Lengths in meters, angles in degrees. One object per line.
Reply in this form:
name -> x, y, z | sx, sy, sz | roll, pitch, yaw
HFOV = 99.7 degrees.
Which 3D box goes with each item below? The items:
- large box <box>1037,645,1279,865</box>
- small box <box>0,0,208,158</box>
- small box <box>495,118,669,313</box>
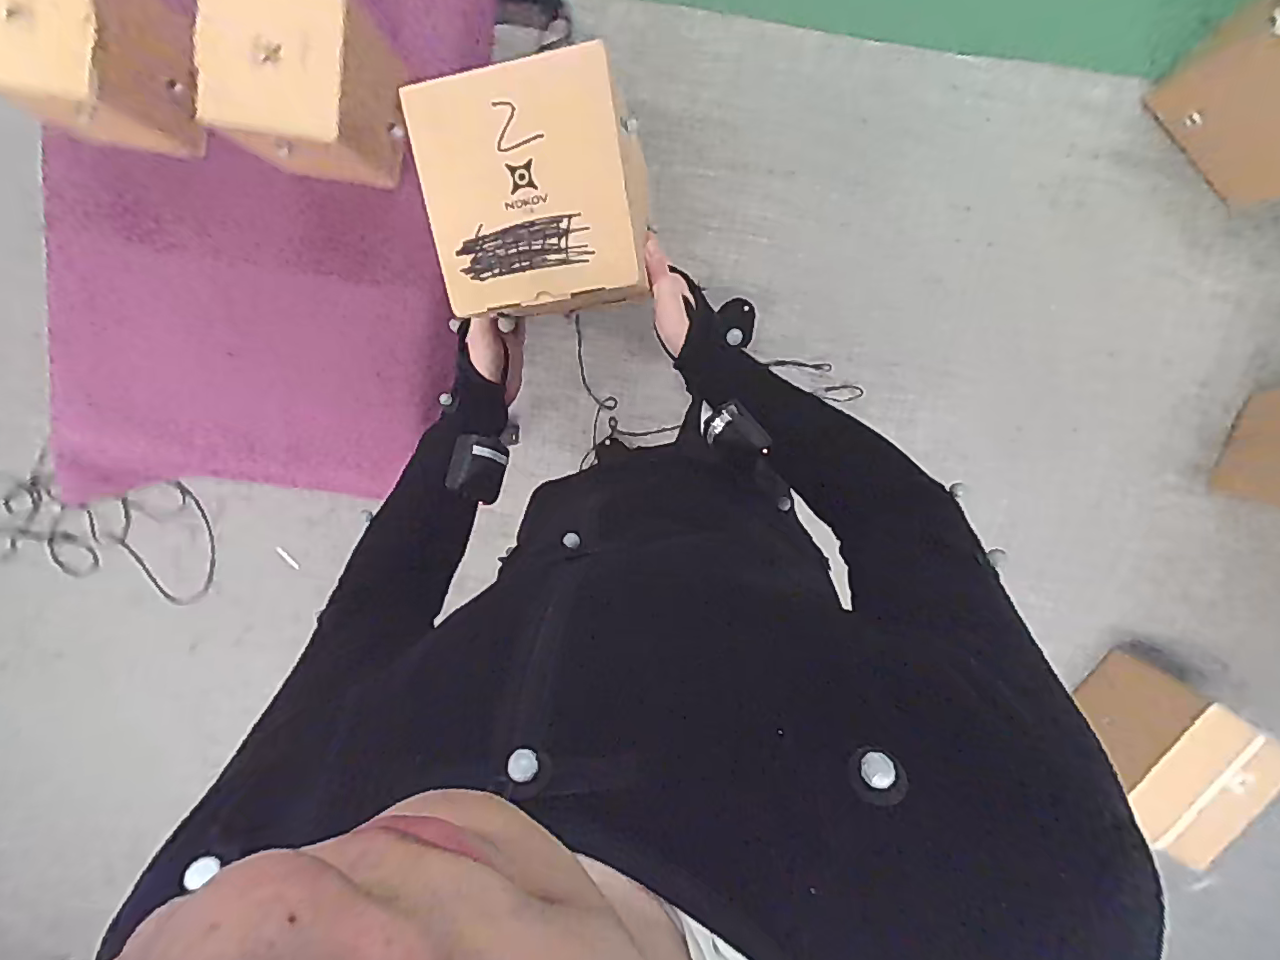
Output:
large box -> 1.482, 0.769, 1.558 | 0.320, 0.320, 0.408 | 32, 98, -5
small box -> -0.723, -0.552, 0.711 | 0.179, 0.176, 0.168 | 8, 99, -1
small box -> -0.056, -0.305, 0.662 | 0.168, 0.176, 0.179 | -6, 105, 7
